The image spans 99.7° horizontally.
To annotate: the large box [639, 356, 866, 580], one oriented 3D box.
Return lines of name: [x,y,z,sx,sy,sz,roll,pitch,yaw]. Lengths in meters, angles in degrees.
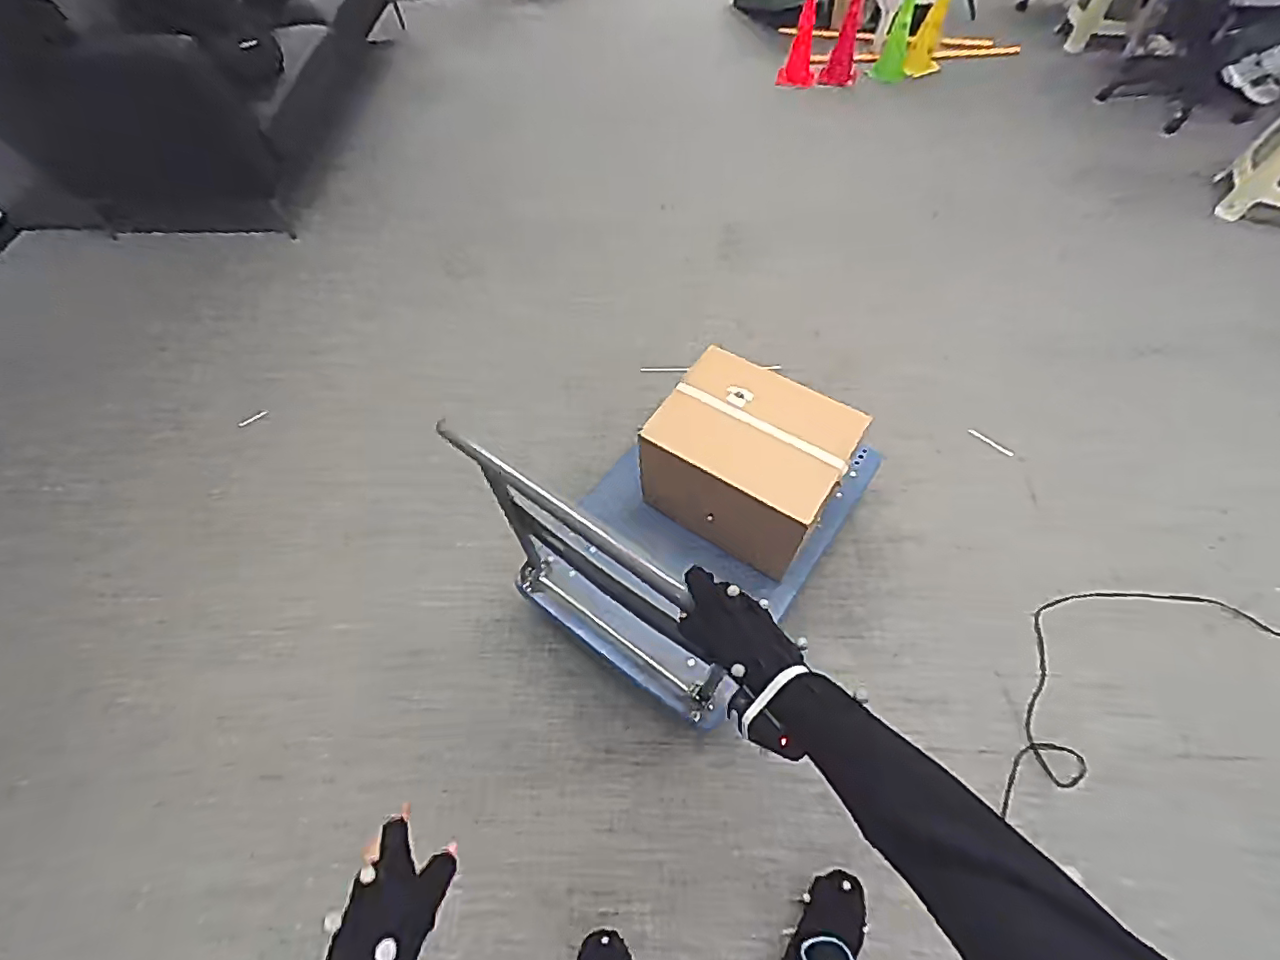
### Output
large box: [0.254,-0.025,1.297,0.408,0.320,0.320,29,63,19]
